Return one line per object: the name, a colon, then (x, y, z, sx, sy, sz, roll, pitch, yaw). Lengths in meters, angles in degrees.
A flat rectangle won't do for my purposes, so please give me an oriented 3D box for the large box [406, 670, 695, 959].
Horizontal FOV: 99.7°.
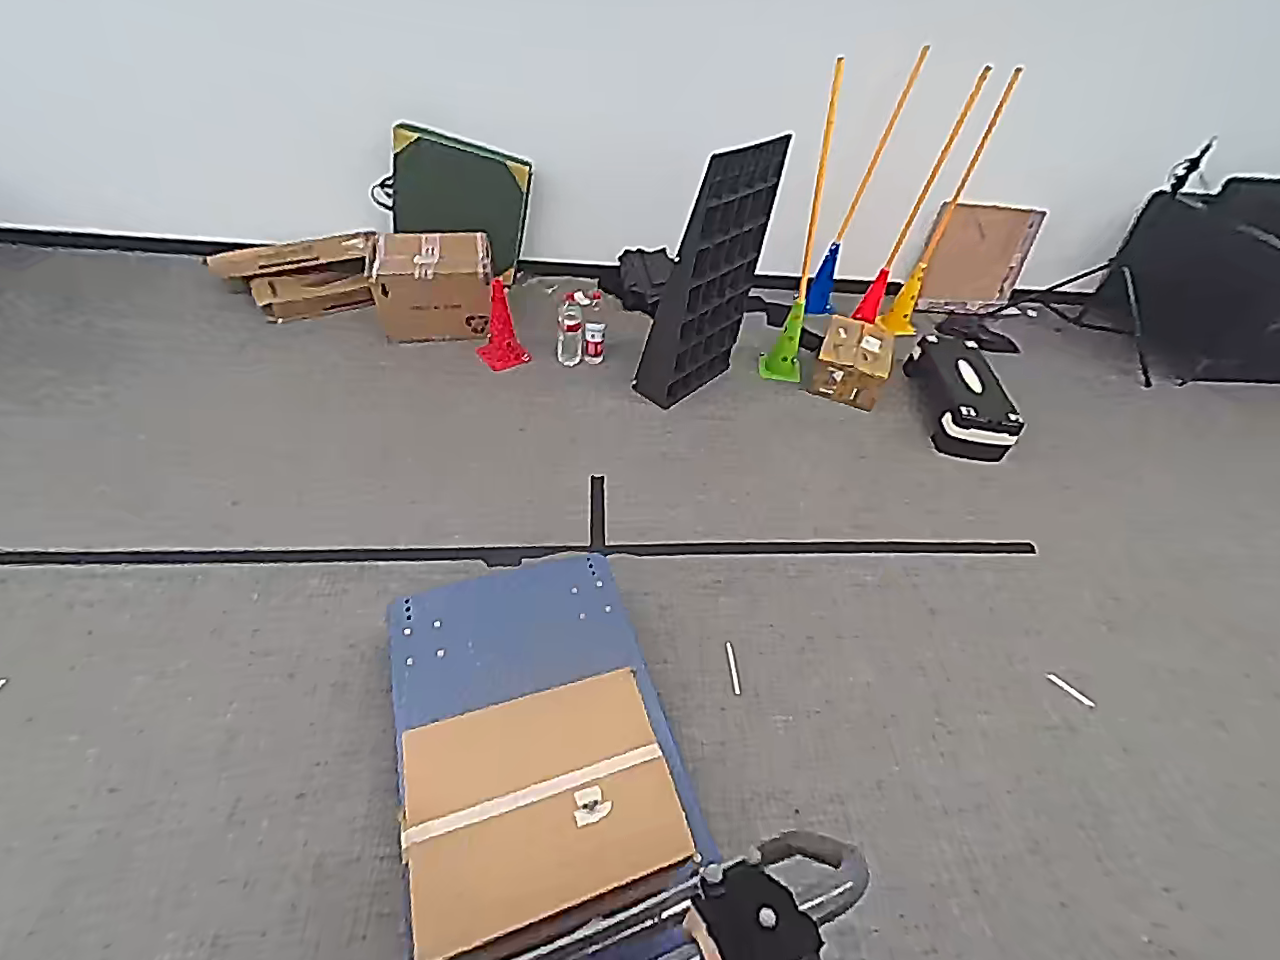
large box: (-0.168, 0.600, 0.960, 0.408, 0.320, 0.320, -10, 49, -19)
